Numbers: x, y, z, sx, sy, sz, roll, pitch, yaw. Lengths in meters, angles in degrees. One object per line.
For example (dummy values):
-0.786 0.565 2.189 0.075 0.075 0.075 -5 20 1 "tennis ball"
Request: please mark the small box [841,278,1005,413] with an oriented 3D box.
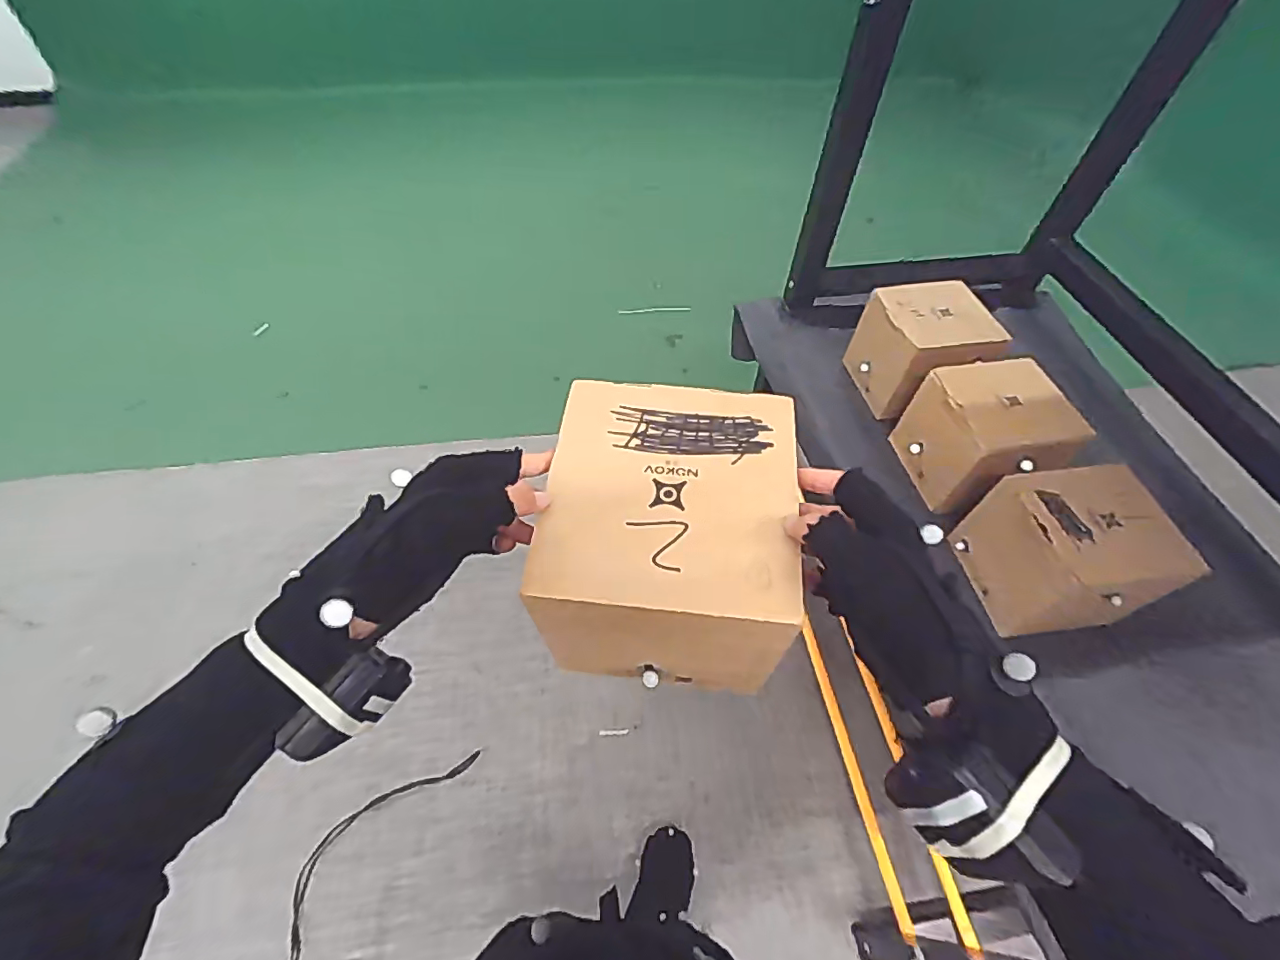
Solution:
0.501 -0.242 0.987 0.179 0.176 0.168 -8 55 -7 "small box"
